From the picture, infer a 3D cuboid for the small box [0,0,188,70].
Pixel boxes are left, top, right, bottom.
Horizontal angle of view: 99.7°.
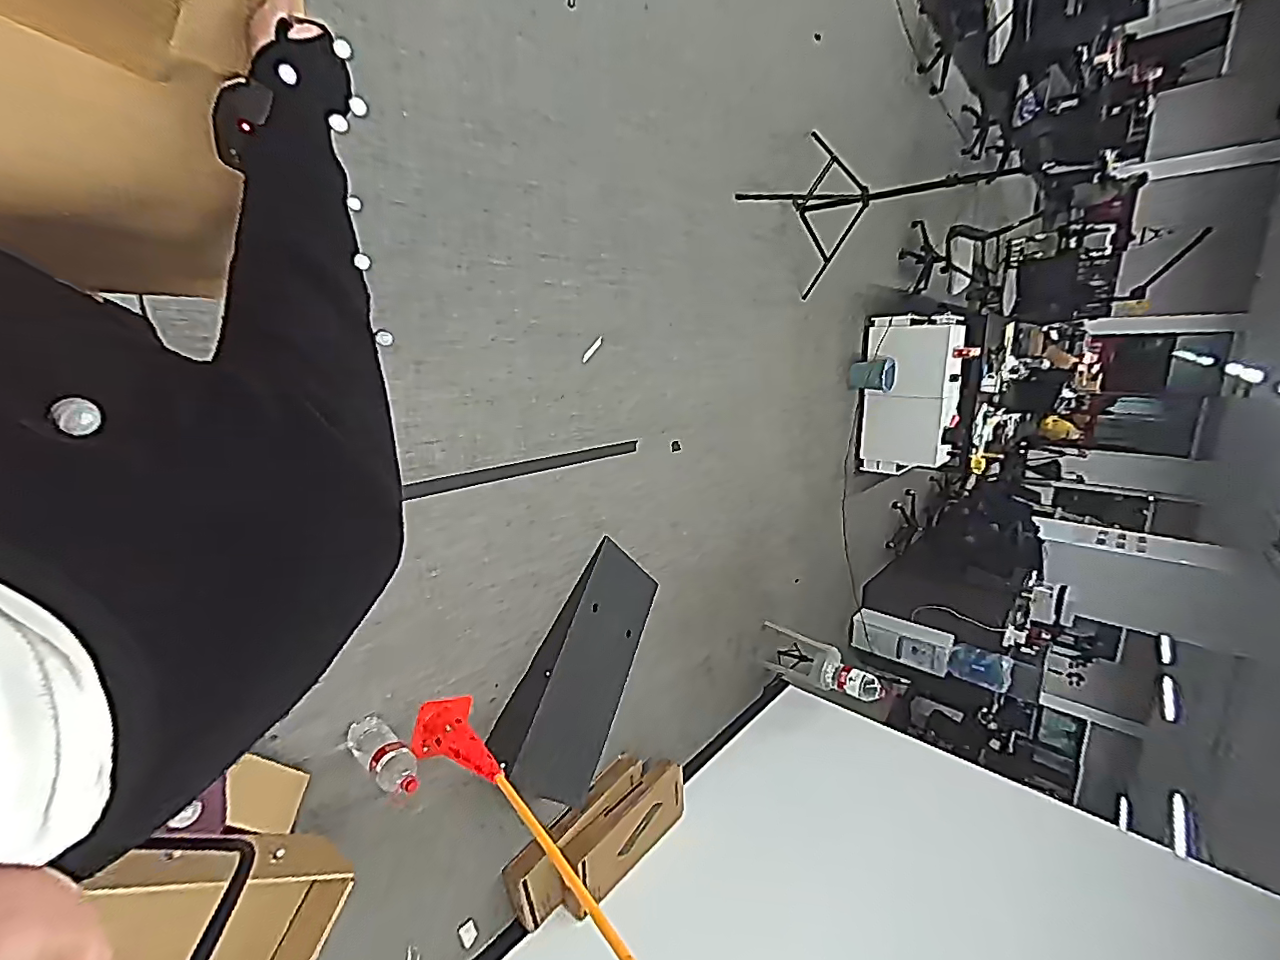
[{"bbox_3d":[-0.414,-0.427,0.363,0.179,0.176,0.168,4,96,-46],"label":"small box"}]
